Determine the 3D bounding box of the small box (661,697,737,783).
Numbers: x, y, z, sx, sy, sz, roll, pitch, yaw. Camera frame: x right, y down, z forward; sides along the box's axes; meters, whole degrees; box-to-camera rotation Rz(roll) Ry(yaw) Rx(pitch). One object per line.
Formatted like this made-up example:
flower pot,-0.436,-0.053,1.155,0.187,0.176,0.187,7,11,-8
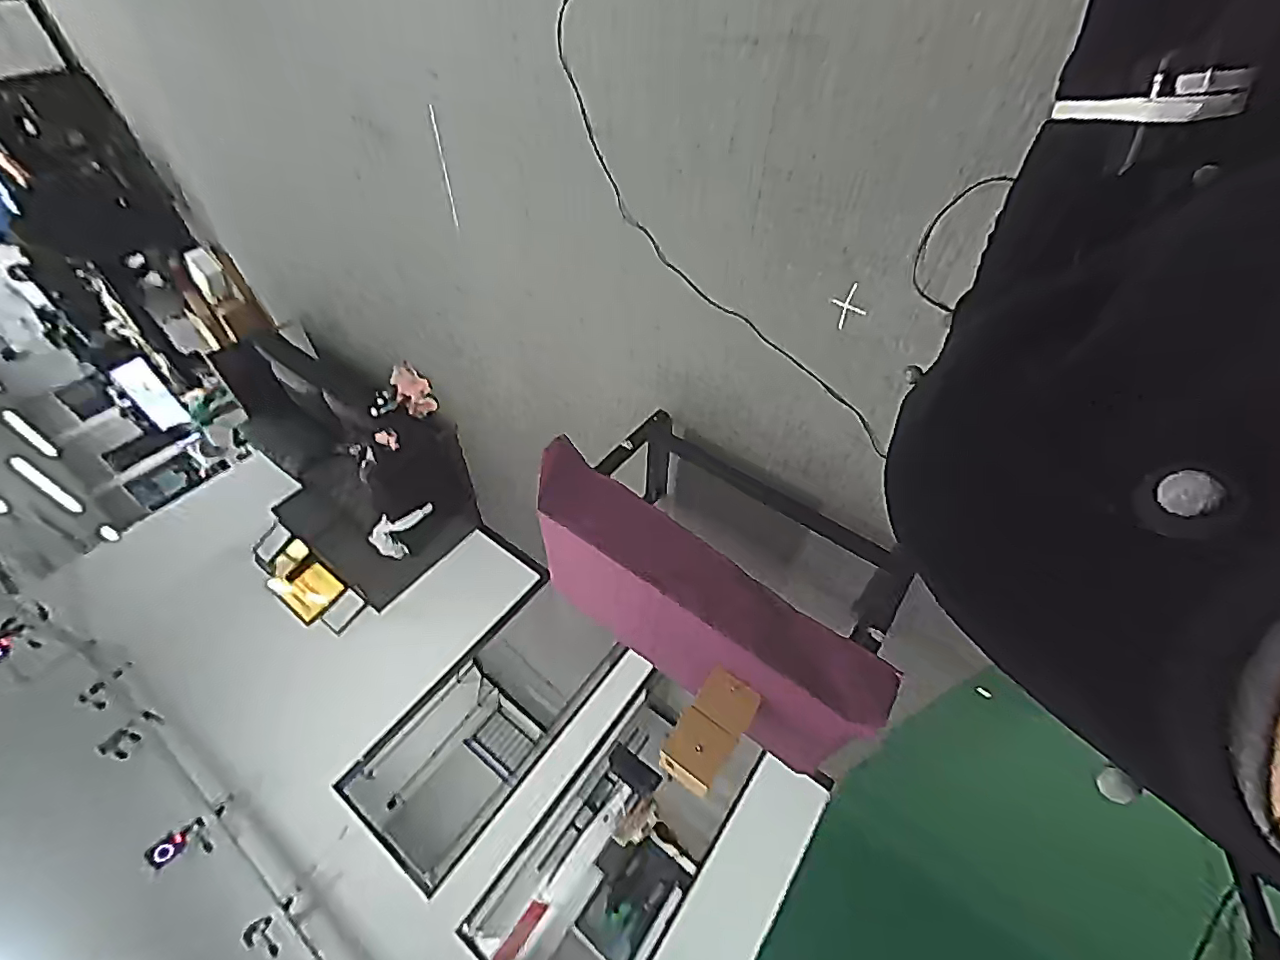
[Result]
small box,0.186,0.827,1.736,0.179,0.176,0.168,29,145,22

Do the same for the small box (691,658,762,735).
small box,0.285,0.727,1.821,0.179,0.176,0.168,30,146,23
